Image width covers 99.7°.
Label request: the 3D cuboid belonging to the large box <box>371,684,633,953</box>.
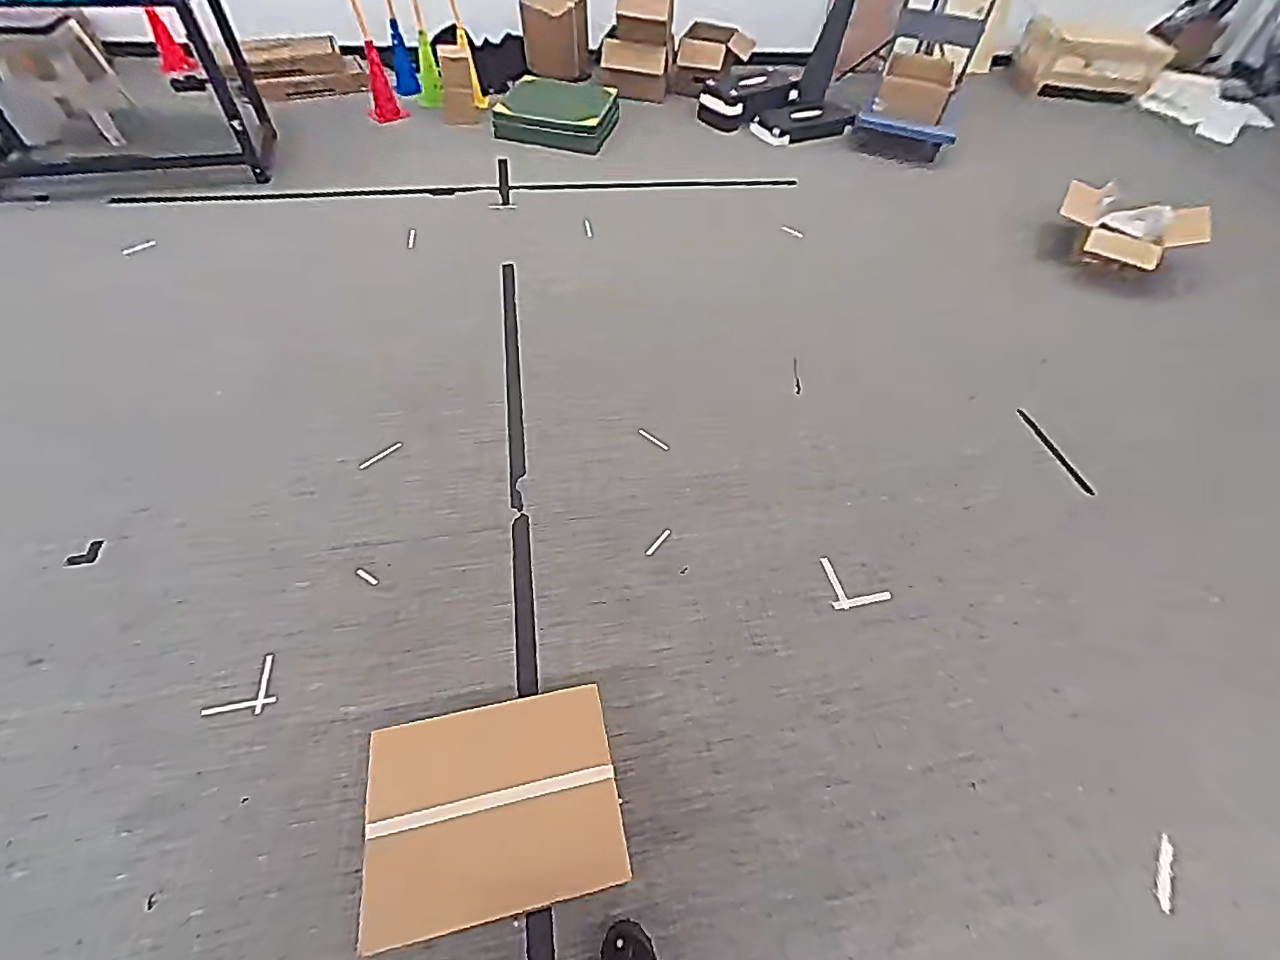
[{"bbox_3d":[-0.245,0.628,1.023,0.408,0.320,0.320,-8,55,-10],"label":"large box"}]
